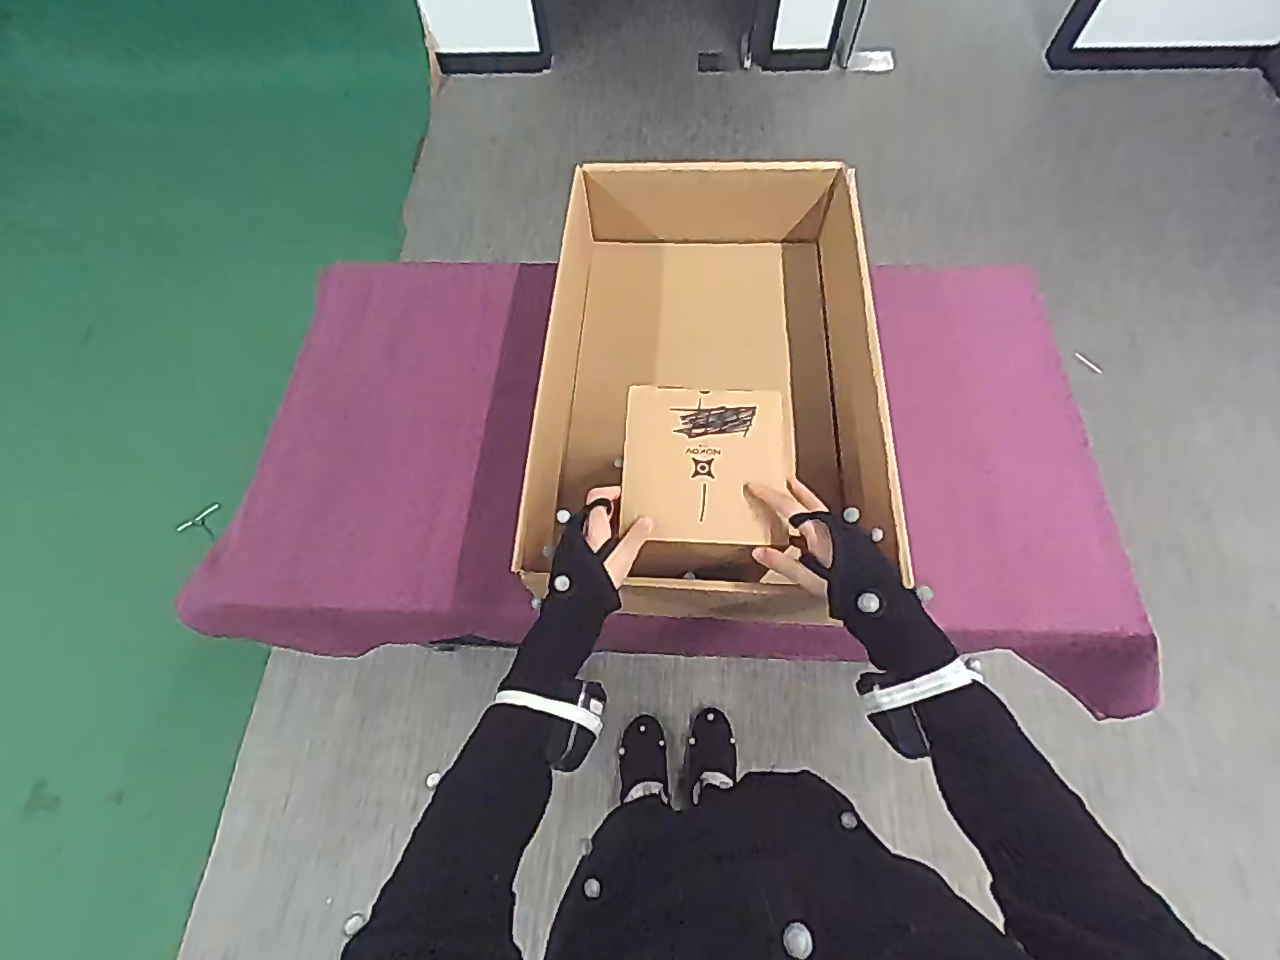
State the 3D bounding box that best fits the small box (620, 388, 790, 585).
[{"bbox_3d":[0.068,0.014,0.623,0.168,0.176,0.179,2,67,3],"label":"small box"}]
